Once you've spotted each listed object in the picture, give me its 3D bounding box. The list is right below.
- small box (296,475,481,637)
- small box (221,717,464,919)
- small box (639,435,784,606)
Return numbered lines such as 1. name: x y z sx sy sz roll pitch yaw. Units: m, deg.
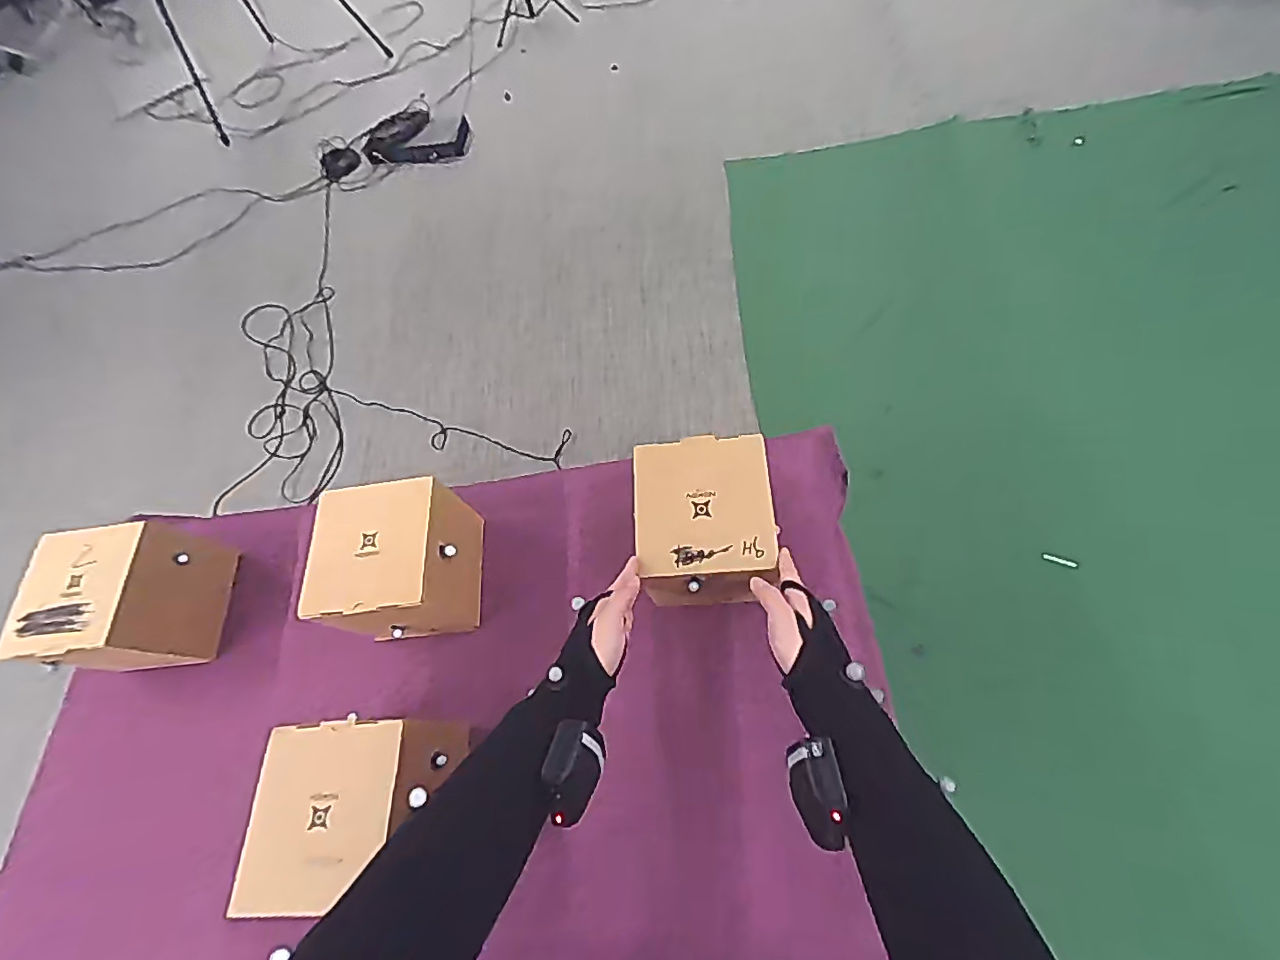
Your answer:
1. small box: -0.334 0.112 0.758 0.168 0.176 0.179 -7 65 5
2. small box: -0.321 0.379 0.628 0.168 0.176 0.179 -6 63 7
3. small box: 0.091 0.061 0.713 0.168 0.176 0.179 -5 66 8
